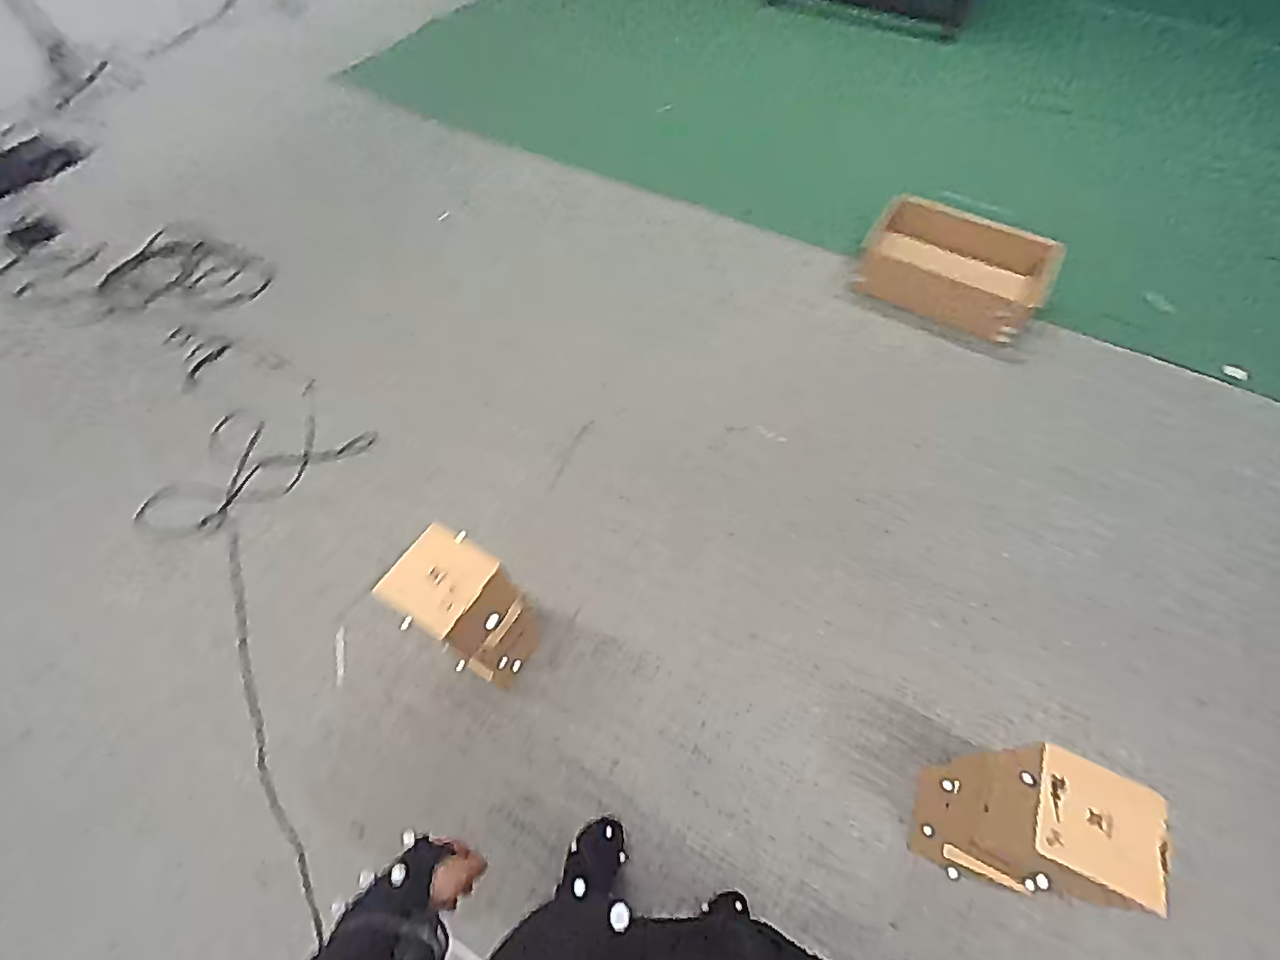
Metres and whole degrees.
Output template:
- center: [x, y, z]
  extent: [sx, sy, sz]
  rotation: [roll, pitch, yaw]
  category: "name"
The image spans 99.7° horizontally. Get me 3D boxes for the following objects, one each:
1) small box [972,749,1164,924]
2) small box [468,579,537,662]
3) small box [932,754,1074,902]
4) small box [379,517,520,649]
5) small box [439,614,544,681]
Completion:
- center: [0.685, 0.565, 0.878]
  extent: [0.179, 0.176, 0.168]
  rotation: [25, 62, 13]
  category: "small box"
- center: [-0.354, 0.288, 1.216]
  extent: [0.179, 0.176, 0.168]
  rotation: [28, 63, 17]
  category: "small box"
- center: [0.692, 0.646, 1.021]
  extent: [0.179, 0.176, 0.168]
  rotation: [25, 61, 15]
  category: "small box"
- center: [-0.365, 0.210, 1.071]
  extent: [0.179, 0.176, 0.168]
  rotation: [28, 63, 16]
  category: "small box"
- center: [-0.360, 0.381, 1.351]
  extent: [0.179, 0.176, 0.168]
  rotation: [28, 63, 16]
  category: "small box"
